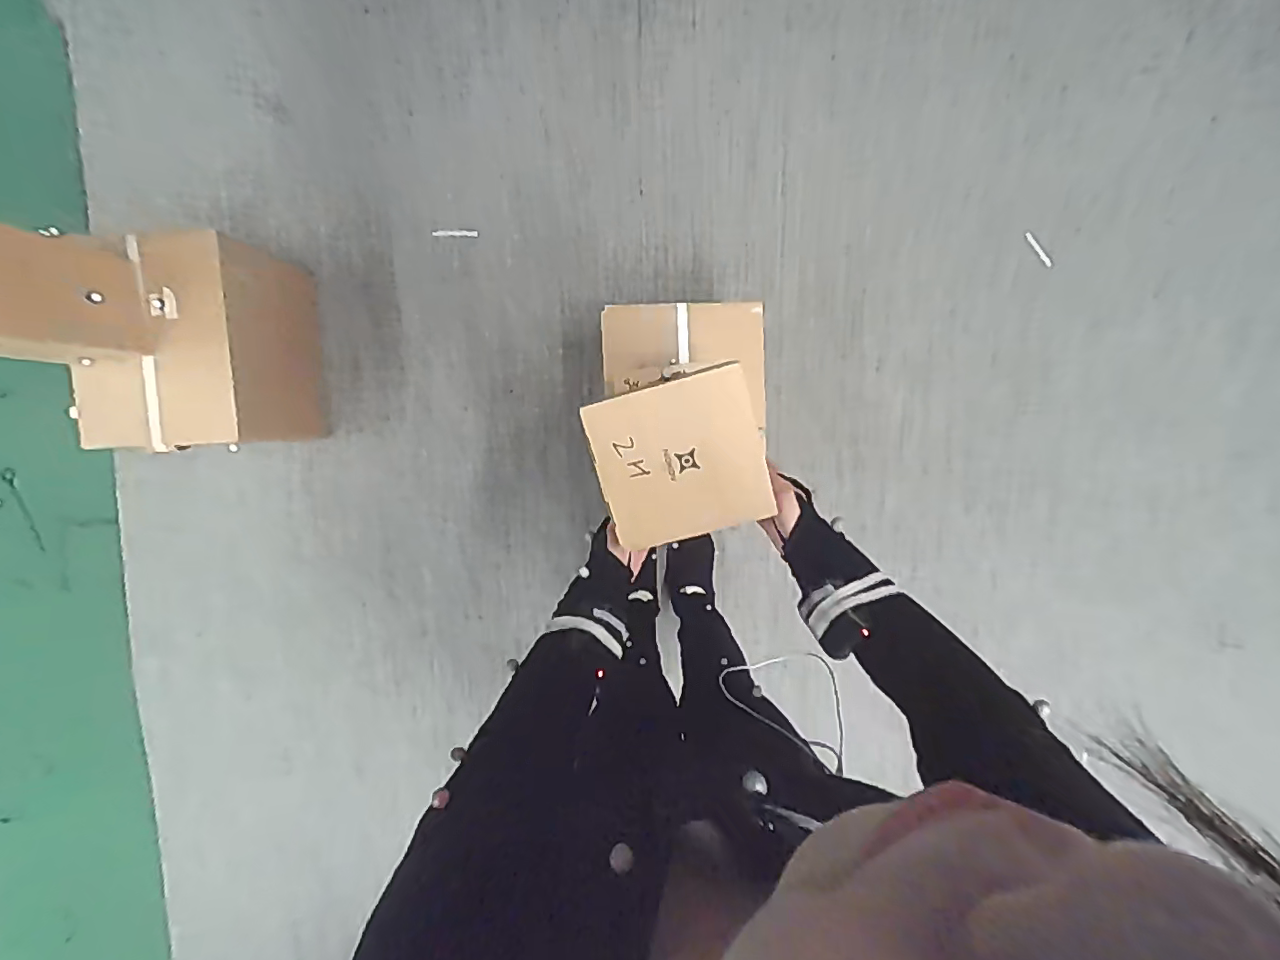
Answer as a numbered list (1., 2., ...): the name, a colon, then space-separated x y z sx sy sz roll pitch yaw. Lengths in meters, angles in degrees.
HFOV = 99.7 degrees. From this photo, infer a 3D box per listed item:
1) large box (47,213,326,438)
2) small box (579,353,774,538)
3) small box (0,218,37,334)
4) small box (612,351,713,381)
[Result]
1. large box: -0.932 -0.302 1.164 0.320 0.320 0.408 -2 96 1
2. small box: 0.044 -0.051 0.645 0.179 0.176 0.168 -15 101 8
3. small box: -1.022 -0.303 0.754 0.168 0.176 0.179 -2 98 3
4. small box: 0.047 -0.125 0.945 0.168 0.176 0.179 -5 98 2
